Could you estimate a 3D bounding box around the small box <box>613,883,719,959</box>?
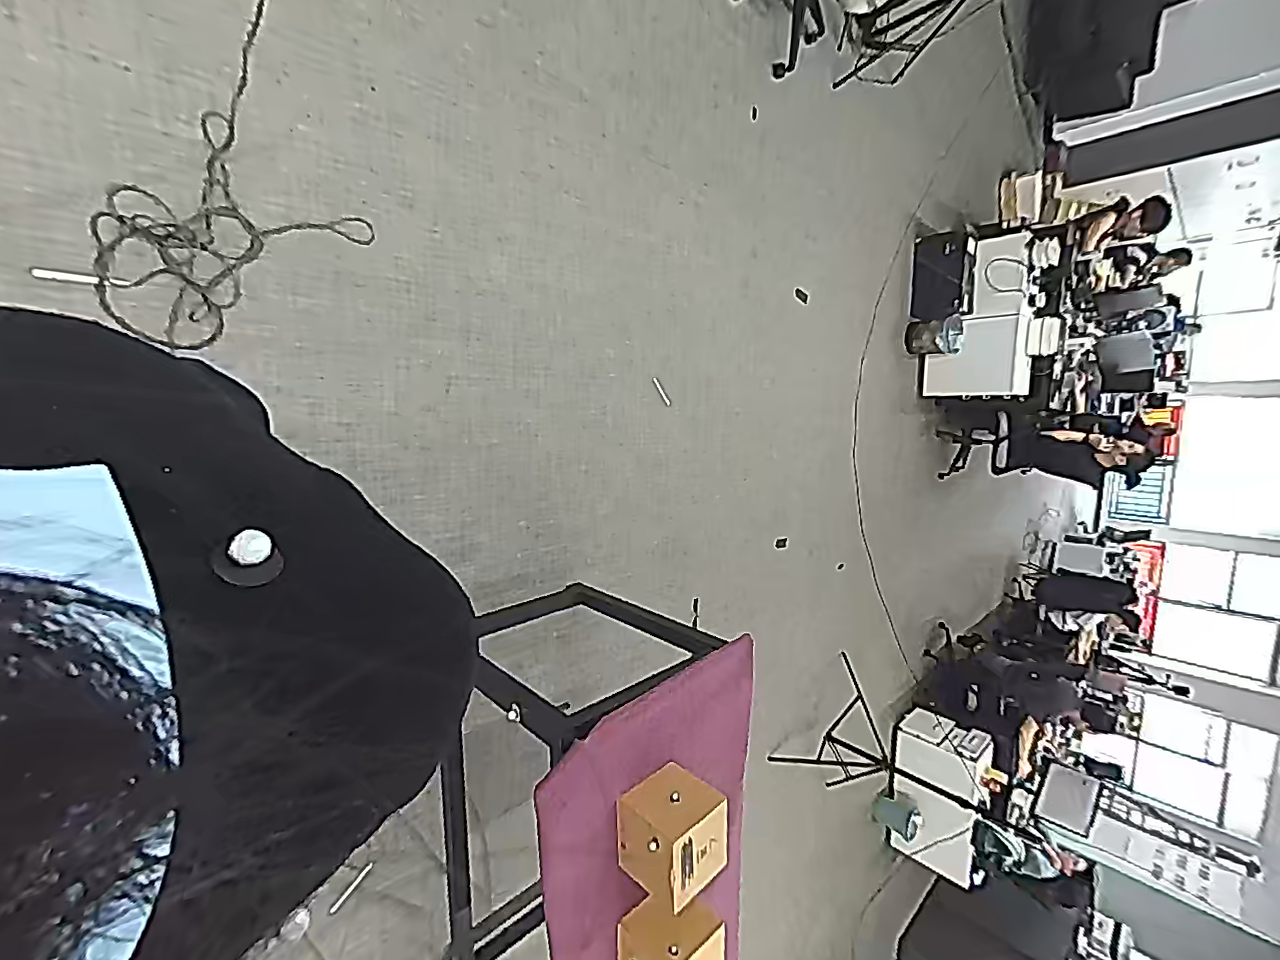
[{"bbox_3d":[0.057,1.067,1.214,0.179,0.176,0.168,-7,101,-43],"label":"small box"}]
